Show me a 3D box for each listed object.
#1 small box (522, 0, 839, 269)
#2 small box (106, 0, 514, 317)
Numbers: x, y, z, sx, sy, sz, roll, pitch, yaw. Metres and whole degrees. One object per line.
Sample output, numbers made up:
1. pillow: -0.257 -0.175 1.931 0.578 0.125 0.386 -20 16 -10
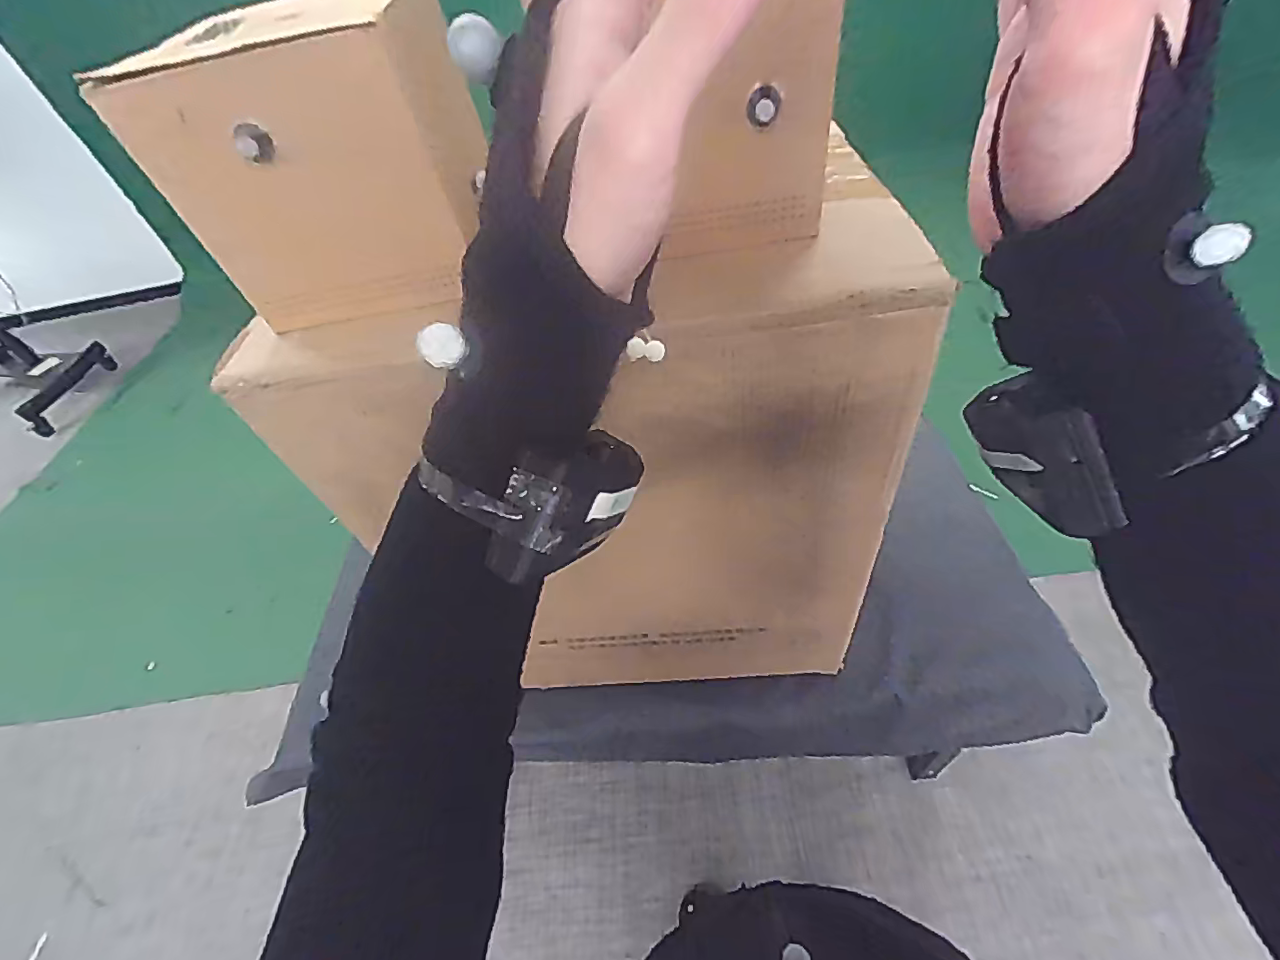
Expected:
1. small box: 0.031 -0.281 0.398 0.179 0.176 0.168 -7 49 7
2. small box: -0.218 -0.247 0.417 0.179 0.176 0.168 -7 53 8
